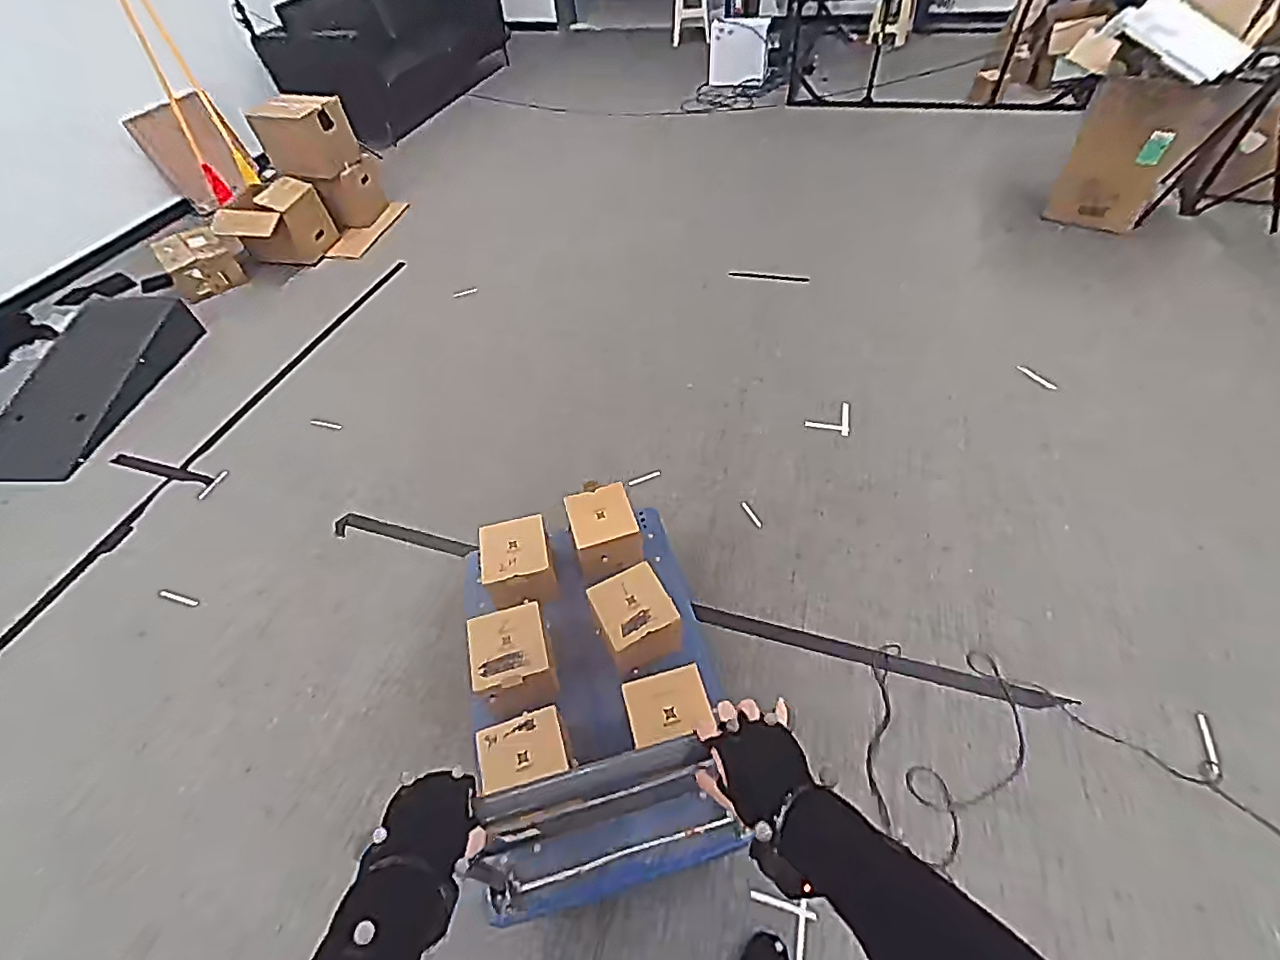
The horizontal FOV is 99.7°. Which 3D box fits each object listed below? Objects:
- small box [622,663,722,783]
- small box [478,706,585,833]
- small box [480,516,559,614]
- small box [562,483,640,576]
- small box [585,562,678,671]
[{"bbox_3d":[0.067,0.522,1.147,0.168,0.176,0.179,-13,50,-7],"label":"small box"},{"bbox_3d":[-0.219,0.597,1.106,0.168,0.176,0.179,-16,51,-10],"label":"small box"},{"bbox_3d":[-0.317,0.225,1.424,0.168,0.176,0.179,-13,51,-6],"label":"small box"},{"bbox_3d":[-0.103,0.142,1.478,0.168,0.176,0.179,-17,51,-9],"label":"small box"},{"bbox_3d":[-0.015,0.337,1.308,0.168,0.176,0.179,-24,52,-15],"label":"small box"}]
